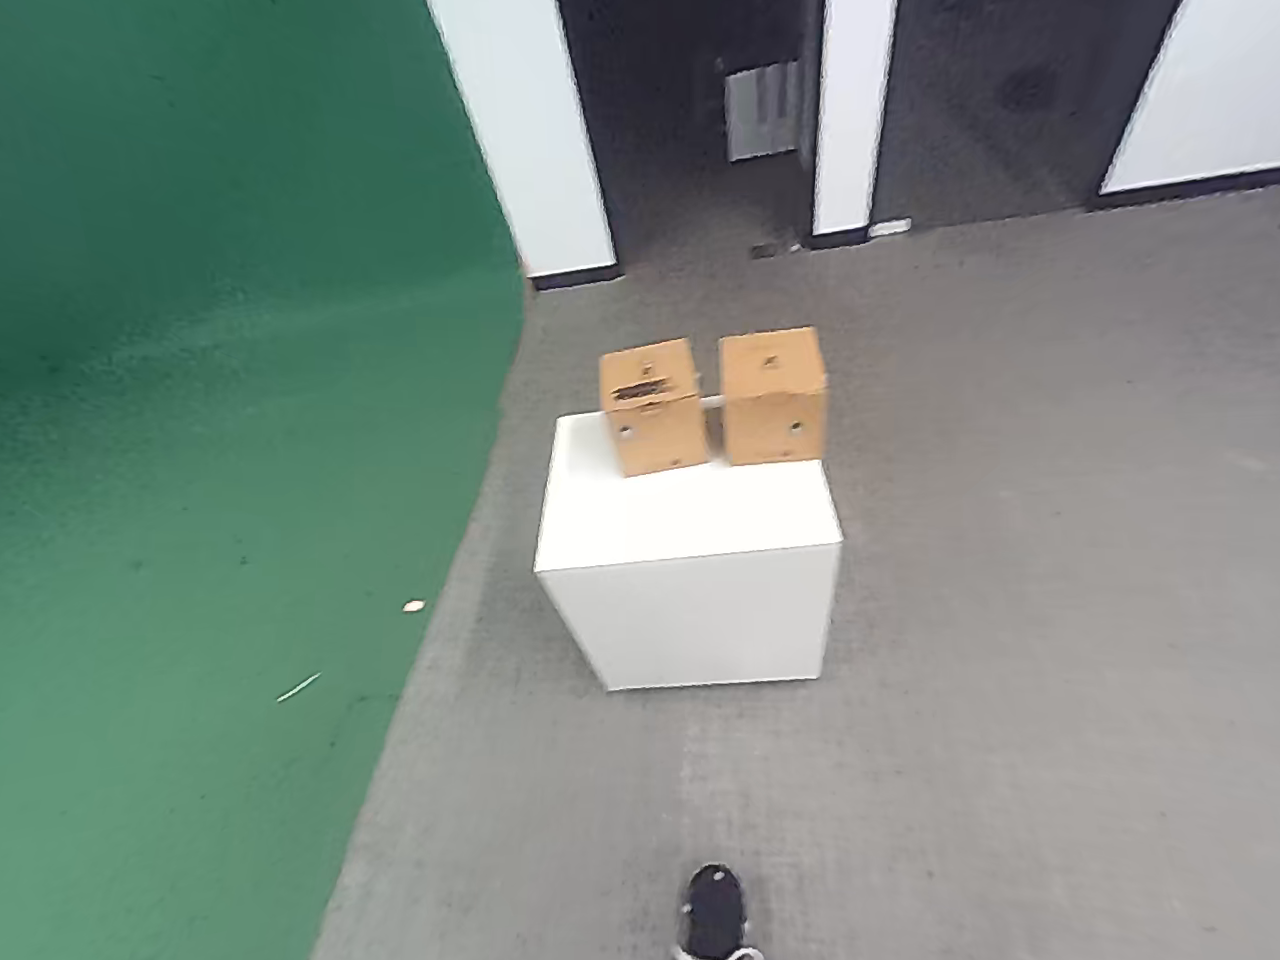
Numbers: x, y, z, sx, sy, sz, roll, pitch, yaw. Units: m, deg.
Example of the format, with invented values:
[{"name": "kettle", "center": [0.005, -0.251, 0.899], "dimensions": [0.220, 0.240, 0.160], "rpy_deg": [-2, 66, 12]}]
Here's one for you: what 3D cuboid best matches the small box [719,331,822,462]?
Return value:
[{"name": "small box", "center": [0.232, -0.144, 0.984], "dimensions": [0.168, 0.176, 0.179], "rpy_deg": [-3, 48, 10]}]
